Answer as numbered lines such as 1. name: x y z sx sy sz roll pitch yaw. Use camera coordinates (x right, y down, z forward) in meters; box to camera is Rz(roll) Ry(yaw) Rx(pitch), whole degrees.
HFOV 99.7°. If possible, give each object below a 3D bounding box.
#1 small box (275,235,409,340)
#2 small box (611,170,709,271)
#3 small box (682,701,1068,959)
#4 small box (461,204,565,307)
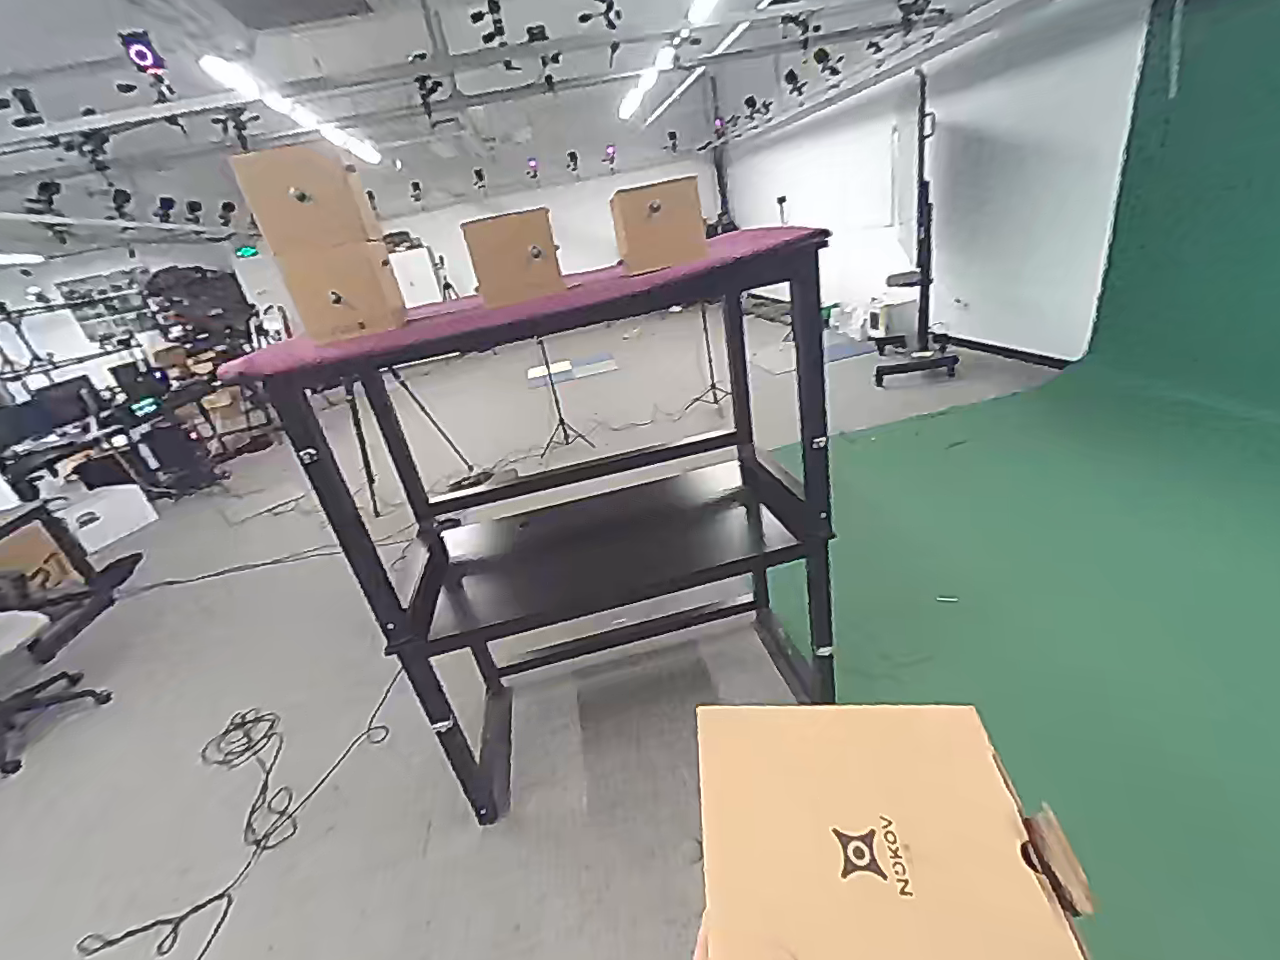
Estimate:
1. small box: -0.589 -0.390 1.097 0.168 0.176 0.179 -14 26 -8
2. small box: 0.042 -0.570 1.209 0.179 0.176 0.168 -13 23 -4
3. small box: 0.119 0.259 0.339 0.179 0.176 0.168 -3 40 5
4. small box: -0.264 -0.480 1.158 0.179 0.176 0.168 -15 25 -6
